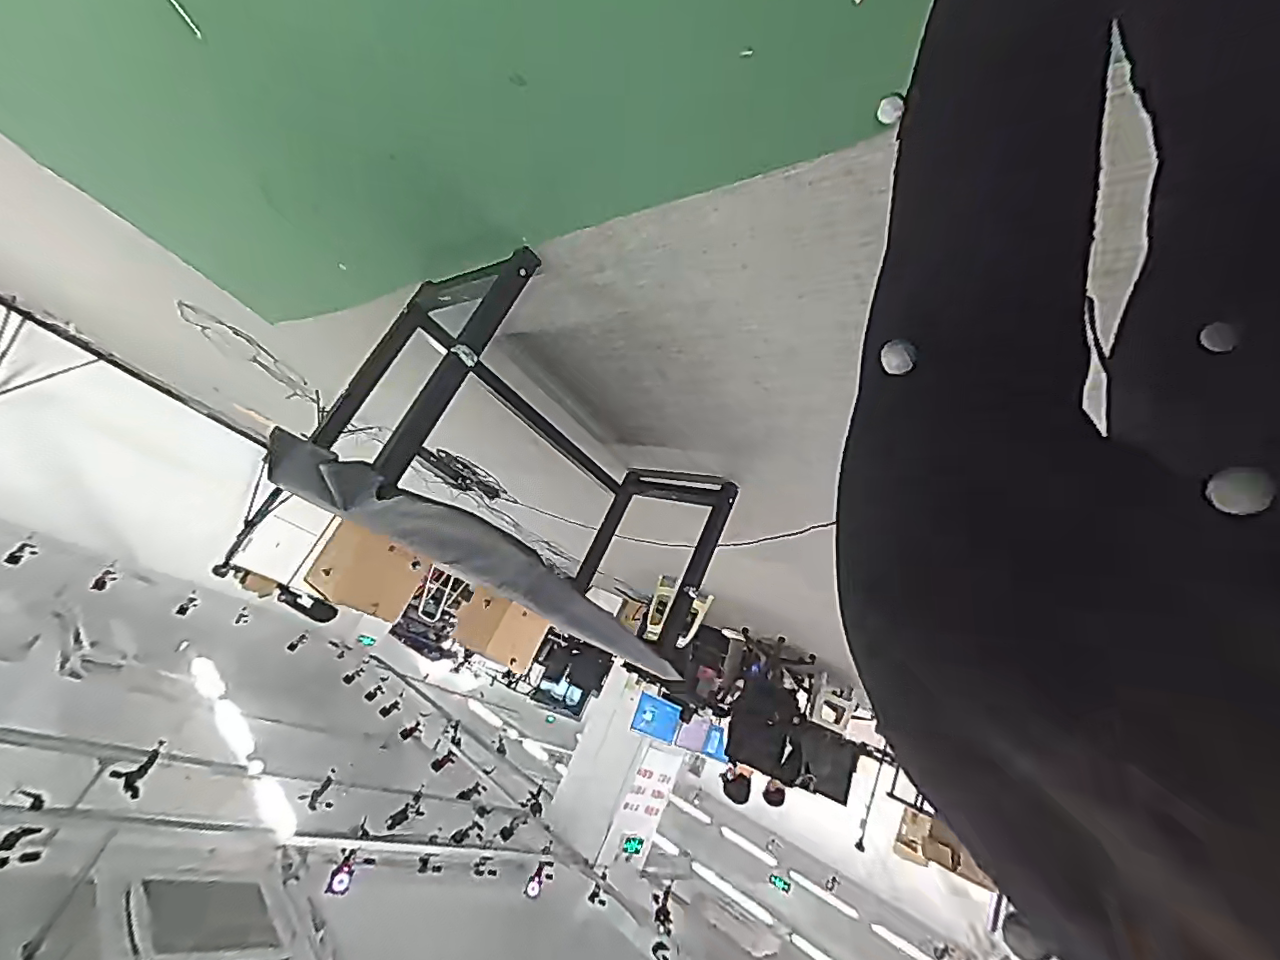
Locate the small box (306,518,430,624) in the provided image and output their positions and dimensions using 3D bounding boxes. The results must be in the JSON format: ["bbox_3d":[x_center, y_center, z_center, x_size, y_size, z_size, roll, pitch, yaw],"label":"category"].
[{"bbox_3d":[-0.612,0.202,1.233,0.179,0.176,0.168,11,157,43],"label":"small box"}]

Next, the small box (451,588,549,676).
[{"bbox_3d":[-0.388,0.421,1.524,0.179,0.176,0.168,9,155,44],"label":"small box"}]
